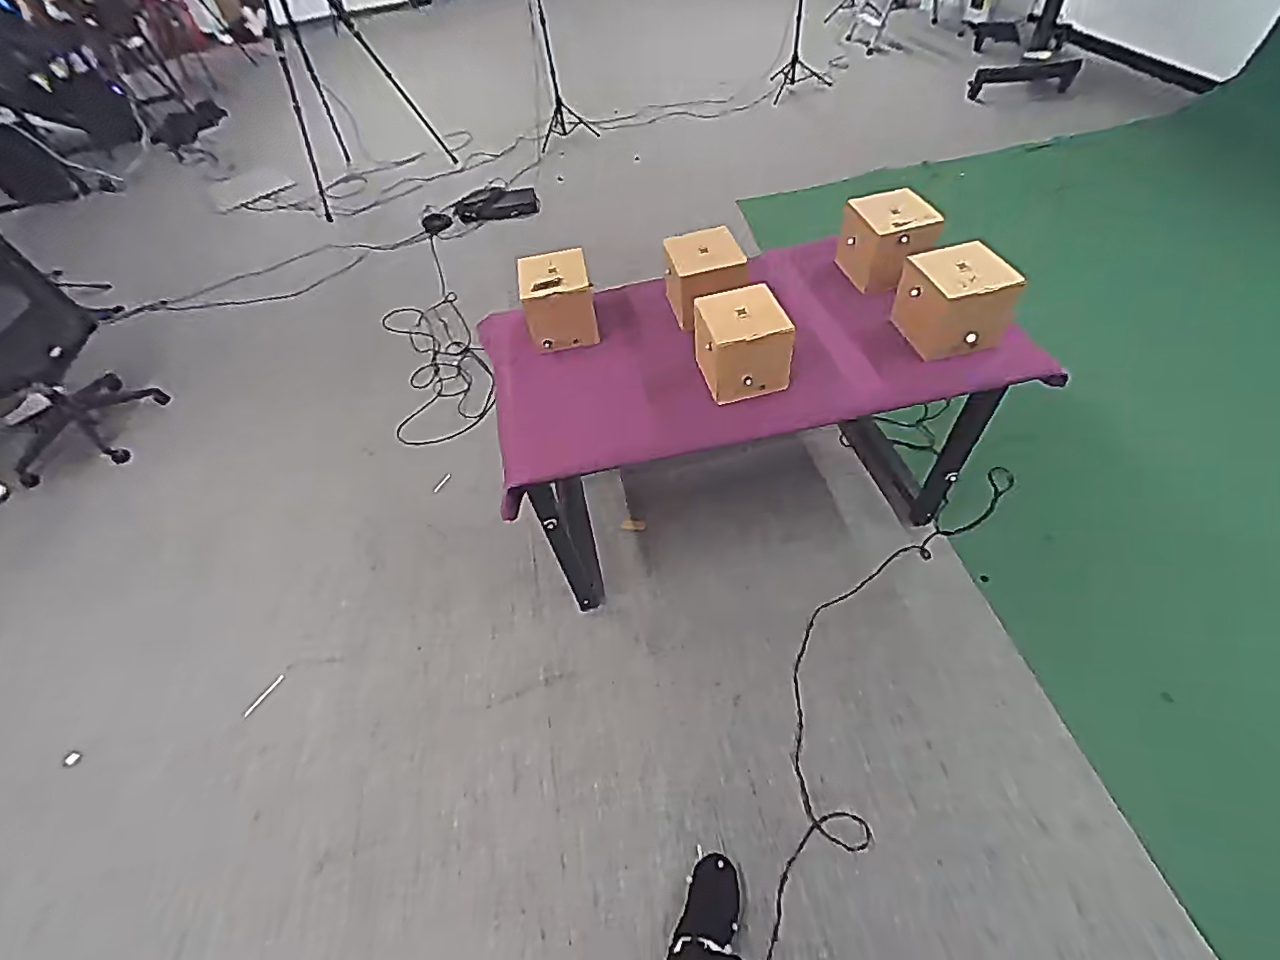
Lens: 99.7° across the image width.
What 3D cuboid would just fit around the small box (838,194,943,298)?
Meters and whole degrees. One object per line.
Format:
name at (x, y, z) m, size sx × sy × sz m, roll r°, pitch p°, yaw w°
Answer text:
small box at (0.625, -0.594, 1.377) m, size 0.168 × 0.176 × 0.179 m, roll -14°, pitch 52°, yaw -2°

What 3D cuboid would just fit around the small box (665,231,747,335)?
small box at (0.163, -0.496, 1.367) m, size 0.168 × 0.176 × 0.179 m, roll -13°, pitch 53°, yaw -1°

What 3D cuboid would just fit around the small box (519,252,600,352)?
small box at (-0.202, -0.443, 1.371) m, size 0.168 × 0.176 × 0.179 m, roll -11°, pitch 53°, yaw -2°

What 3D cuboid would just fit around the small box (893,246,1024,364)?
small box at (0.693, -0.388, 1.204) m, size 0.168 × 0.176 × 0.179 m, roll -13°, pitch 51°, yaw 0°

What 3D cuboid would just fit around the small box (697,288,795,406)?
small box at (0.225, -0.294, 1.203) m, size 0.168 × 0.176 × 0.179 m, roll -13°, pitch 52°, yaw -3°
